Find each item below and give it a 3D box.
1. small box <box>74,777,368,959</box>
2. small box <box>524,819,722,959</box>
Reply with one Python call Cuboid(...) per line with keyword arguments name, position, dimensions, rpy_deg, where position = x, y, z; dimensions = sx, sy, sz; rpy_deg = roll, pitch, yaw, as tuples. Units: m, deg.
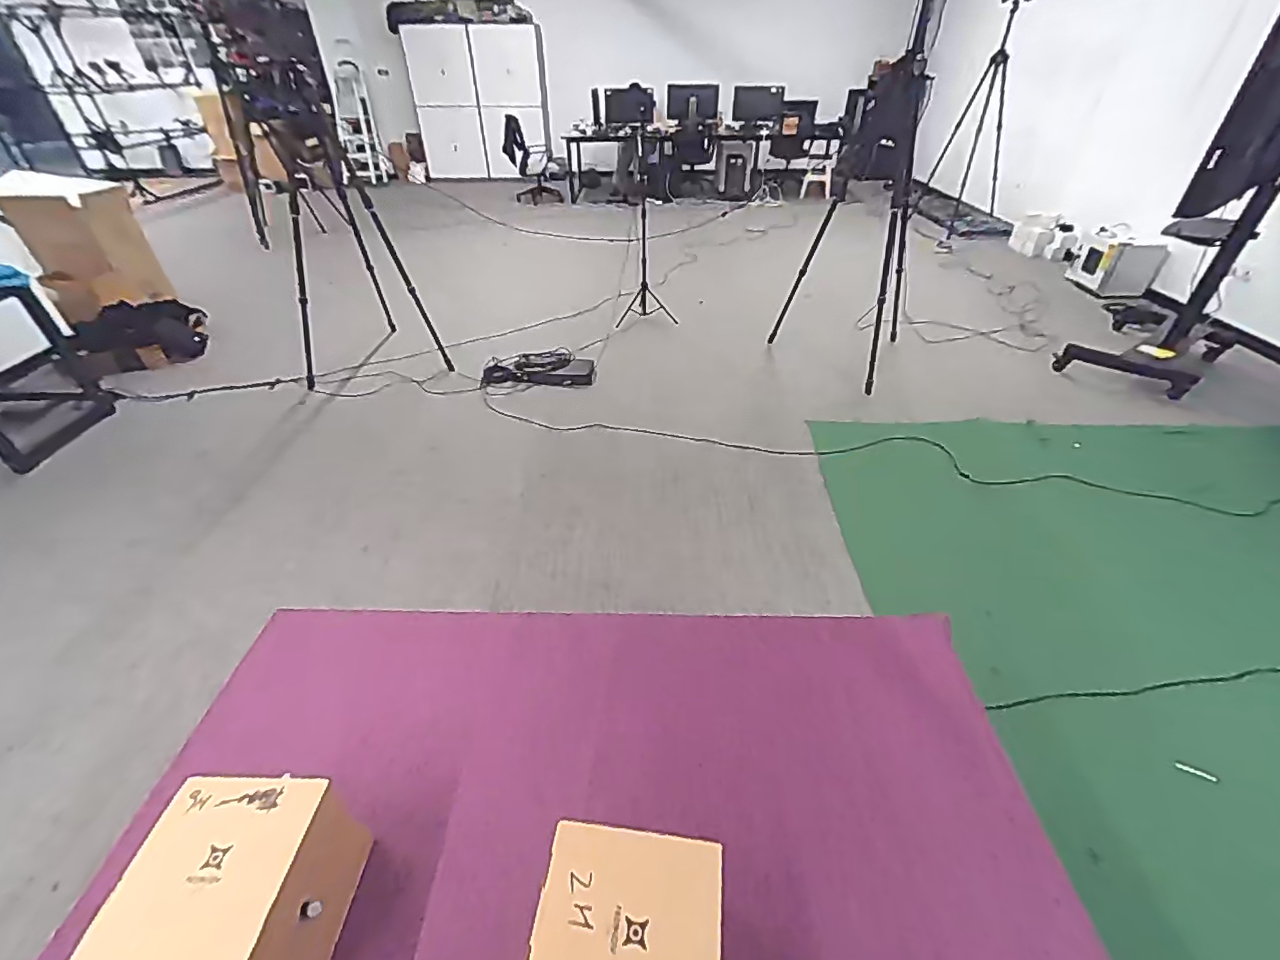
Cuboid(name="small box", position=(-0.431, 0.456, 0.596), dimensions=(0.168, 0.176, 0.179), rpy_deg=(1, 38, 2))
Cuboid(name="small box", position=(-0.013, 0.480, 0.551), dimensions=(0.179, 0.176, 0.168), rpy_deg=(4, 38, 7))
